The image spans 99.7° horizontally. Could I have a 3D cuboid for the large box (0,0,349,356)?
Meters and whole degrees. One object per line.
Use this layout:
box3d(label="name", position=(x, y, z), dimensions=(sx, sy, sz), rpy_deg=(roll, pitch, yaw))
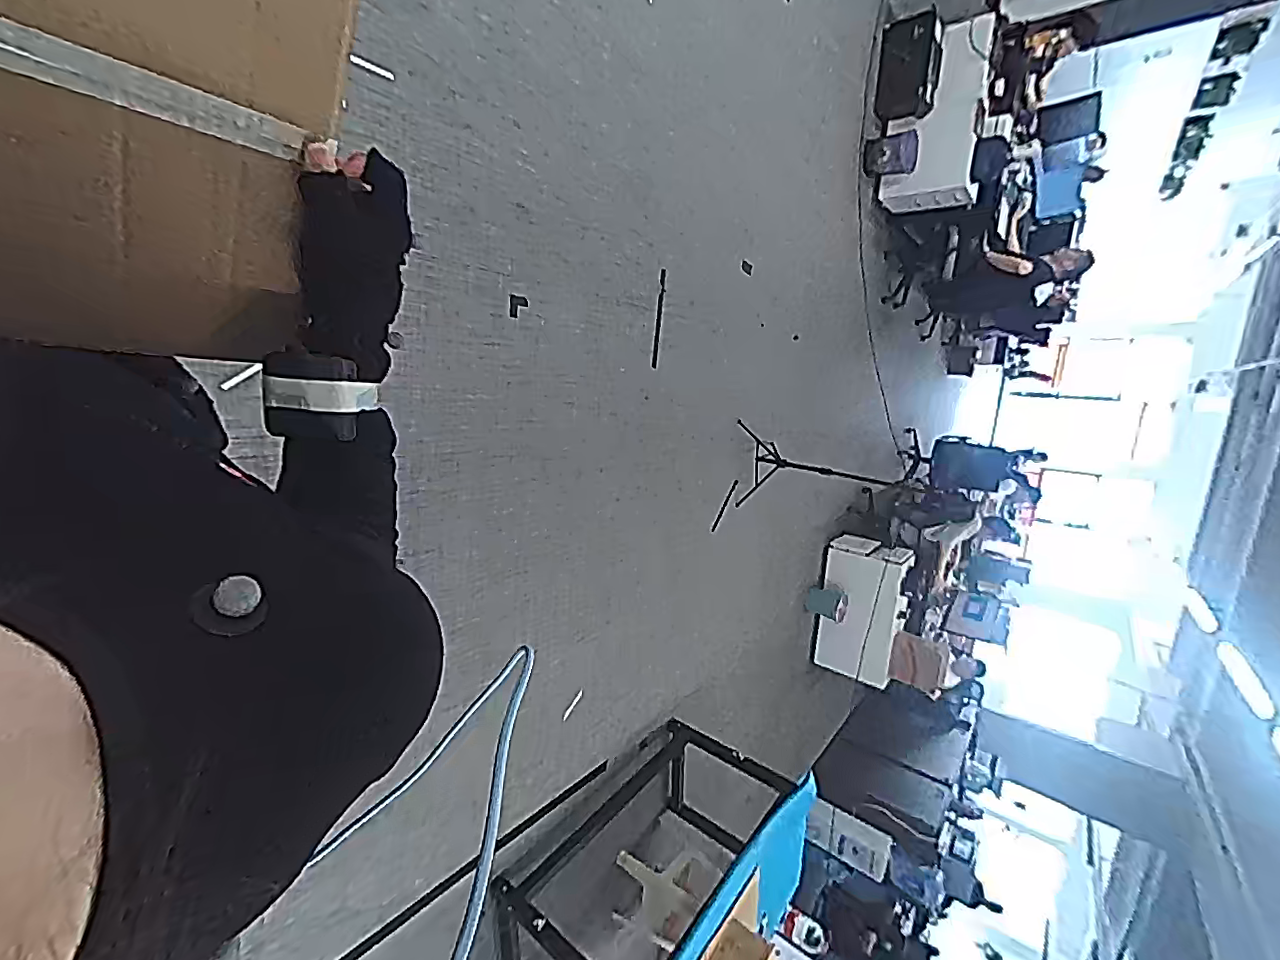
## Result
box3d(label="large box", position=(-0.434, -0.294, 0.292), dimensions=(0.408, 0.320, 0.320), rpy_deg=(-5, 134, -46))
